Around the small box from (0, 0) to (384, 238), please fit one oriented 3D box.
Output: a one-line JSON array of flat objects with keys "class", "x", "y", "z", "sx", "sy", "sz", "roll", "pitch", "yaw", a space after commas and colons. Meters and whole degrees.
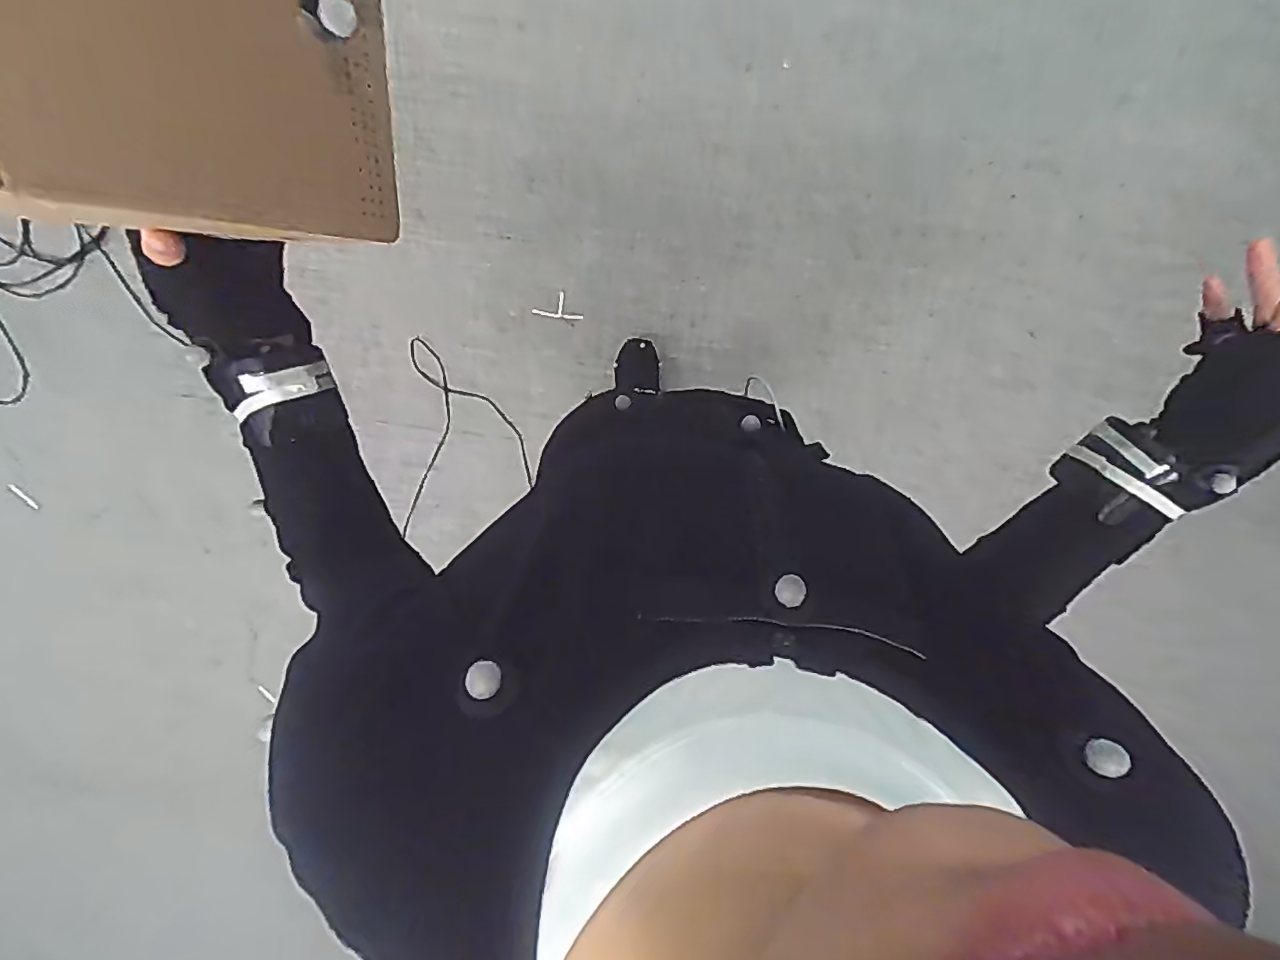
[{"class": "small box", "x": -0.227, "y": -0.198, "z": 0.205, "sx": 0.168, "sy": 0.176, "sz": 0.179, "roll": 9, "pitch": 111, "yaw": 14}]
